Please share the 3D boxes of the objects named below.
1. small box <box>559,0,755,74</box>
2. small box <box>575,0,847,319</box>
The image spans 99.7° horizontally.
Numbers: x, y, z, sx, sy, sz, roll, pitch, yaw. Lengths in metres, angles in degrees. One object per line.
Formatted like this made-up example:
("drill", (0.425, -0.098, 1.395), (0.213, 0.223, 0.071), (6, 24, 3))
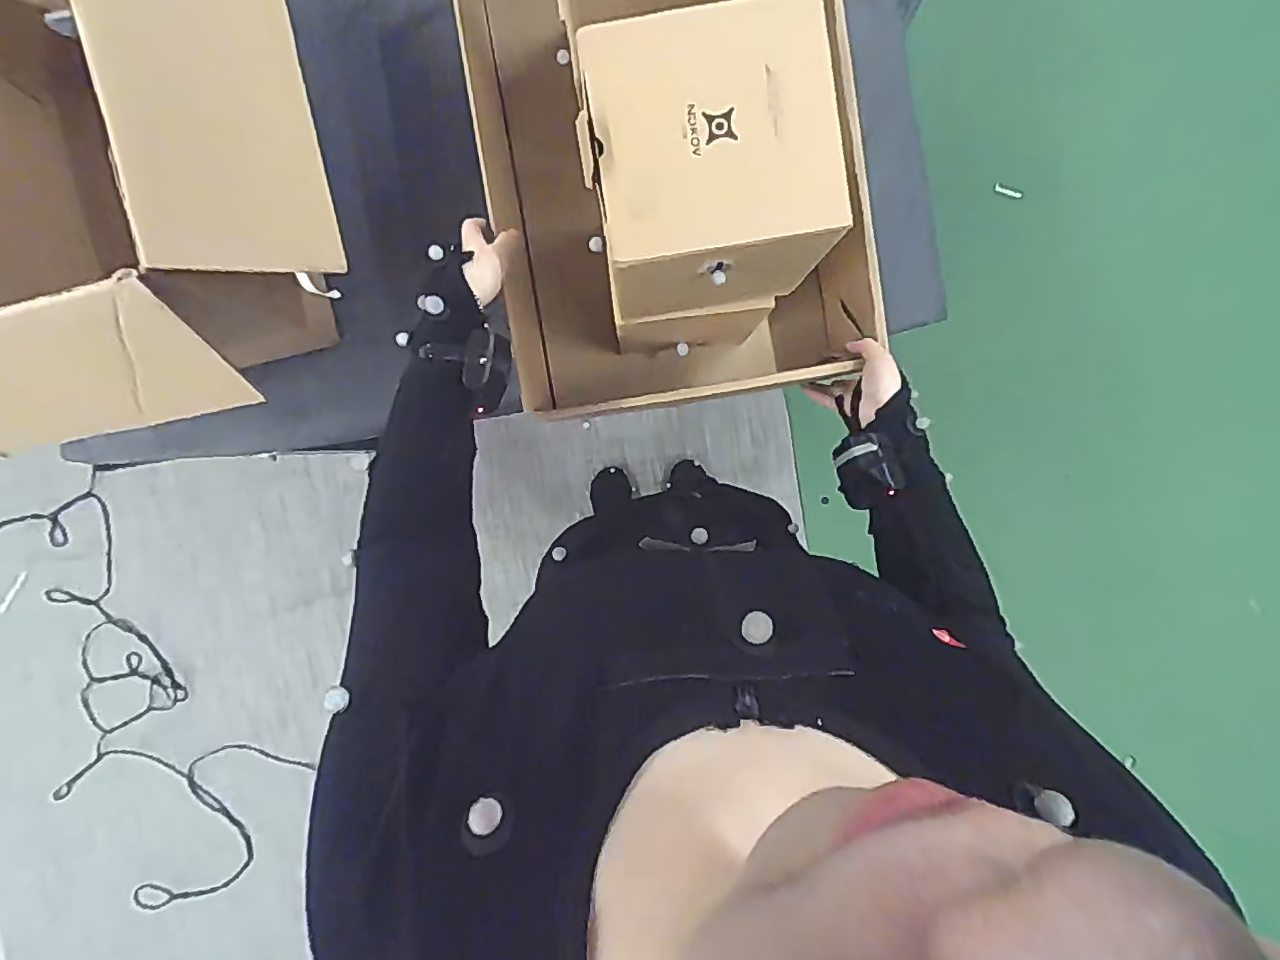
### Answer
("small box", (0.007, -0.477, 0.452), (0.179, 0.176, 0.168), (-10, 95, 0))
("small box", (0.052, -0.248, 0.464), (0.179, 0.176, 0.168), (-9, 93, 1))
